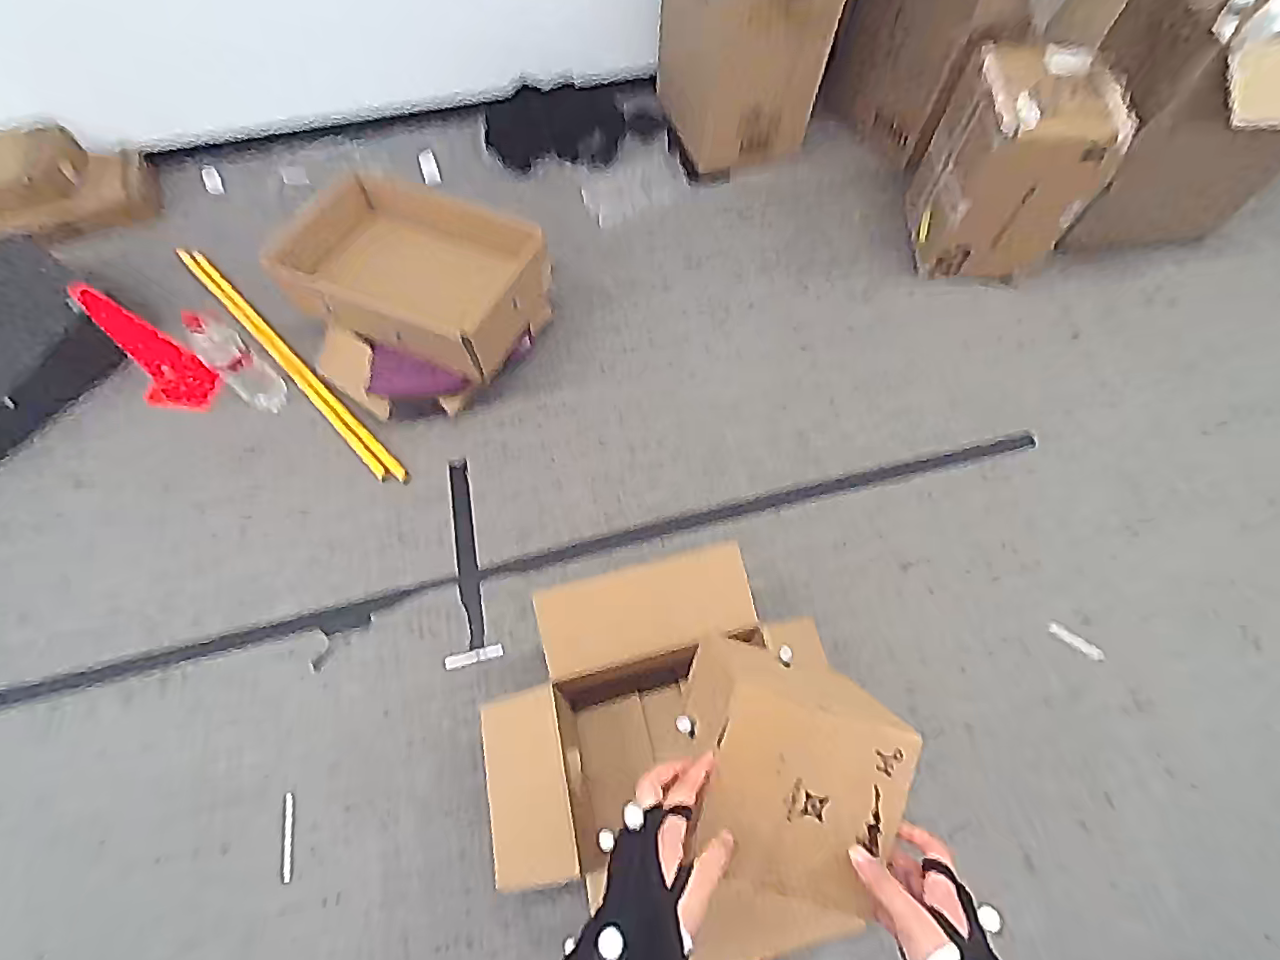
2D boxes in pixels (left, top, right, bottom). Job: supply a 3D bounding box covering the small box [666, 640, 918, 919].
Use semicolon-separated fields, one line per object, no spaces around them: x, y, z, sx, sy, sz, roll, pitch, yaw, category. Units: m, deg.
0.132;0.275;0.542;0.179;0.176;0.168;17;88;-2;small box
